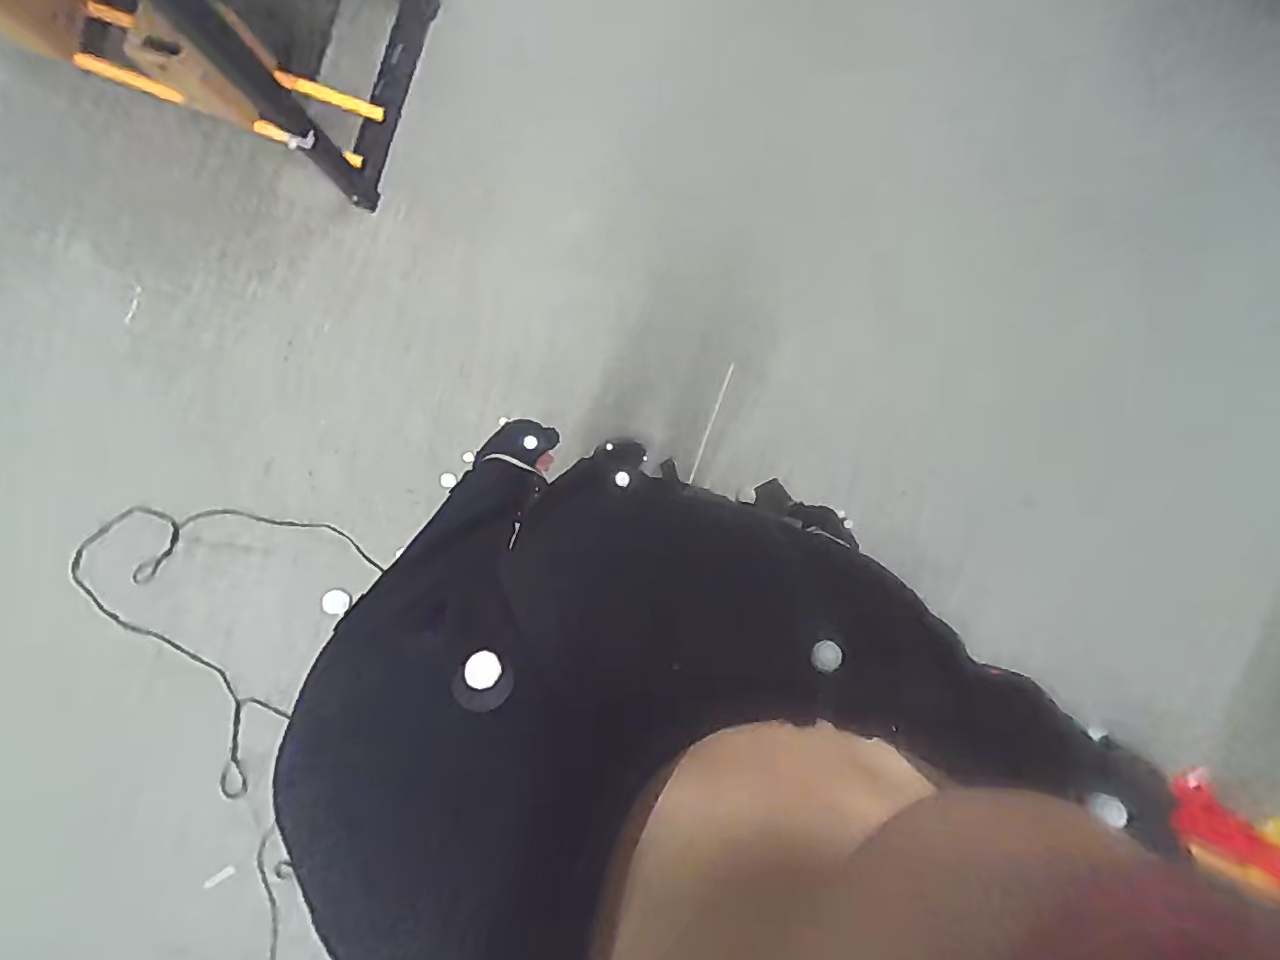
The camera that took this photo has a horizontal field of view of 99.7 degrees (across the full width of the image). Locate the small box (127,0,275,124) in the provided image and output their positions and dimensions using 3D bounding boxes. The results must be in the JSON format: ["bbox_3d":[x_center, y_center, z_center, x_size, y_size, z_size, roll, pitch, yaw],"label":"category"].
[{"bbox_3d":[-0.958,-0.942,1.198,0.168,0.176,0.179,23,91,-4],"label":"small box"}]
